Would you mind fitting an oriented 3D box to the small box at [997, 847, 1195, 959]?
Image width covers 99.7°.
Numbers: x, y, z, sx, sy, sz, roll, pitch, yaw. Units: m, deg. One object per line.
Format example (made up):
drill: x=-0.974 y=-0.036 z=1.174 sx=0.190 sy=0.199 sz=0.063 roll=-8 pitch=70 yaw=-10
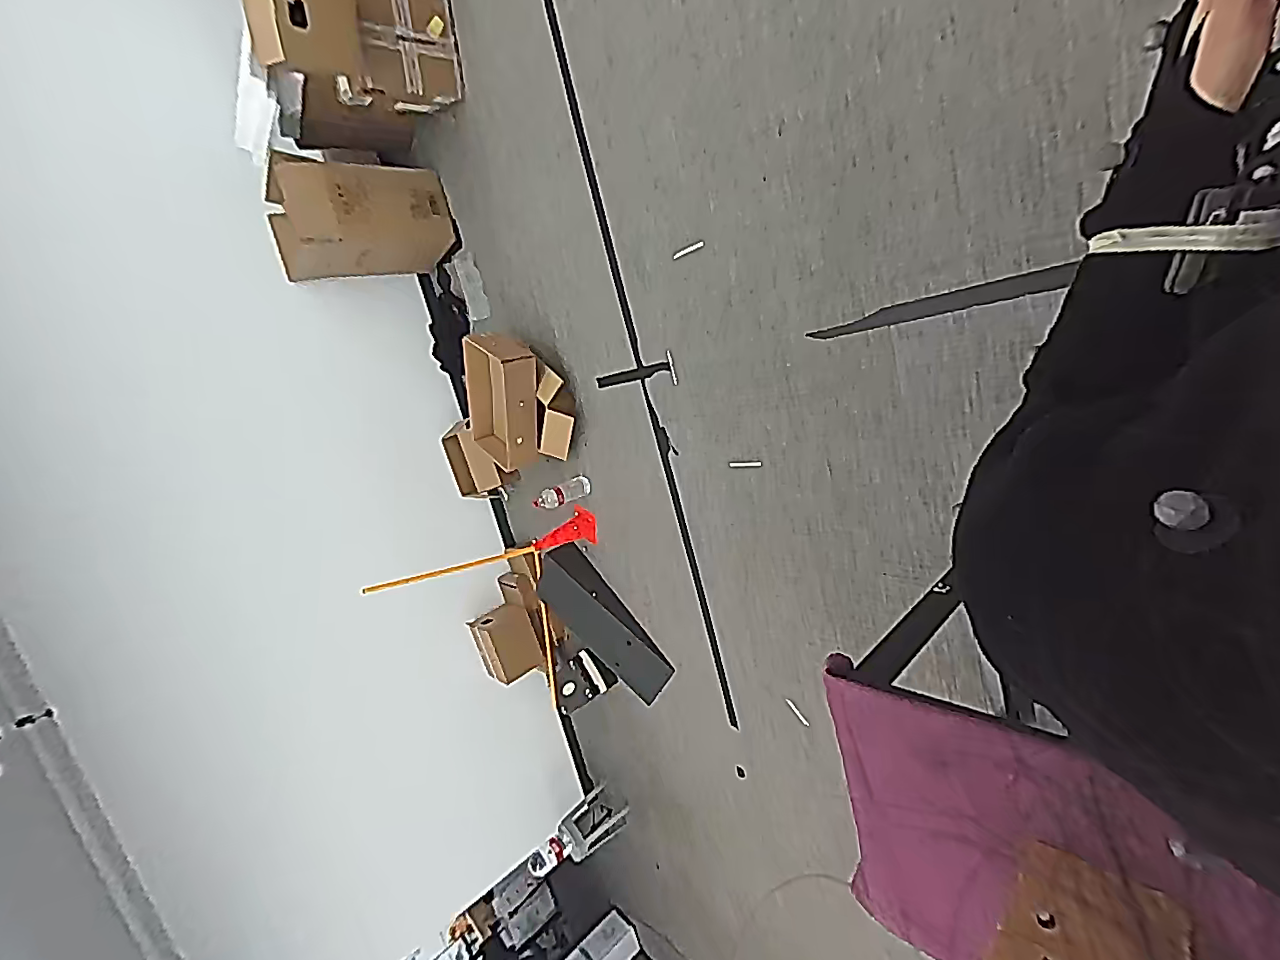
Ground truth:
small box: x=0.632 y=0.659 z=0.748 sx=0.179 sy=0.176 sz=0.168 roll=-2 pitch=107 yaw=52
